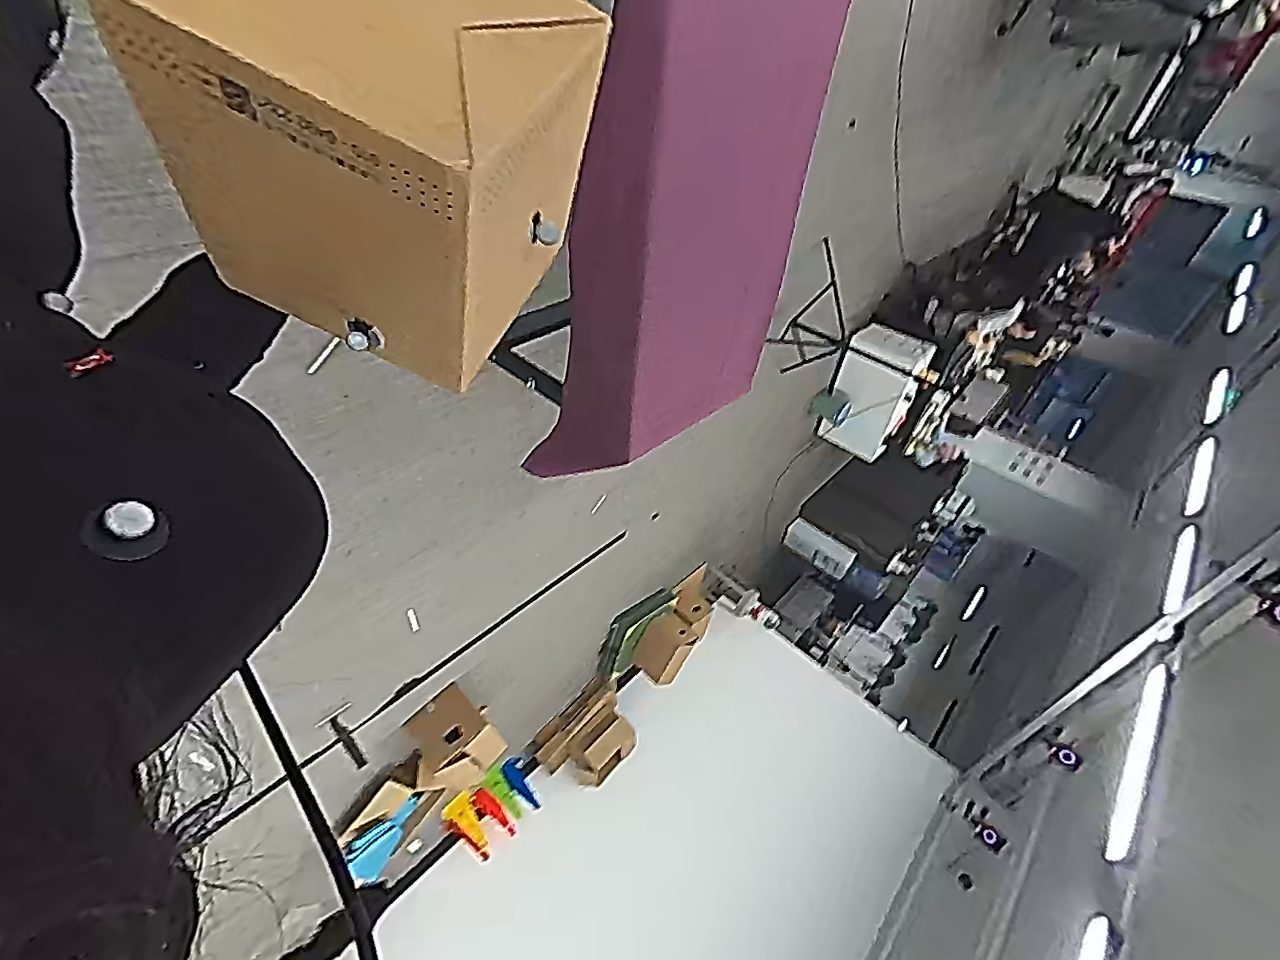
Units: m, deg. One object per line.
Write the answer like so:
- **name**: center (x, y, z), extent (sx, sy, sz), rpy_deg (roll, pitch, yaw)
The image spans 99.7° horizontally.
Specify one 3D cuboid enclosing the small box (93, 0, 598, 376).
- **small box**: center (-0.139, -0.201, 0.317), extent (0.176, 0.168, 0.179), rpy_deg (126, -13, -61)
